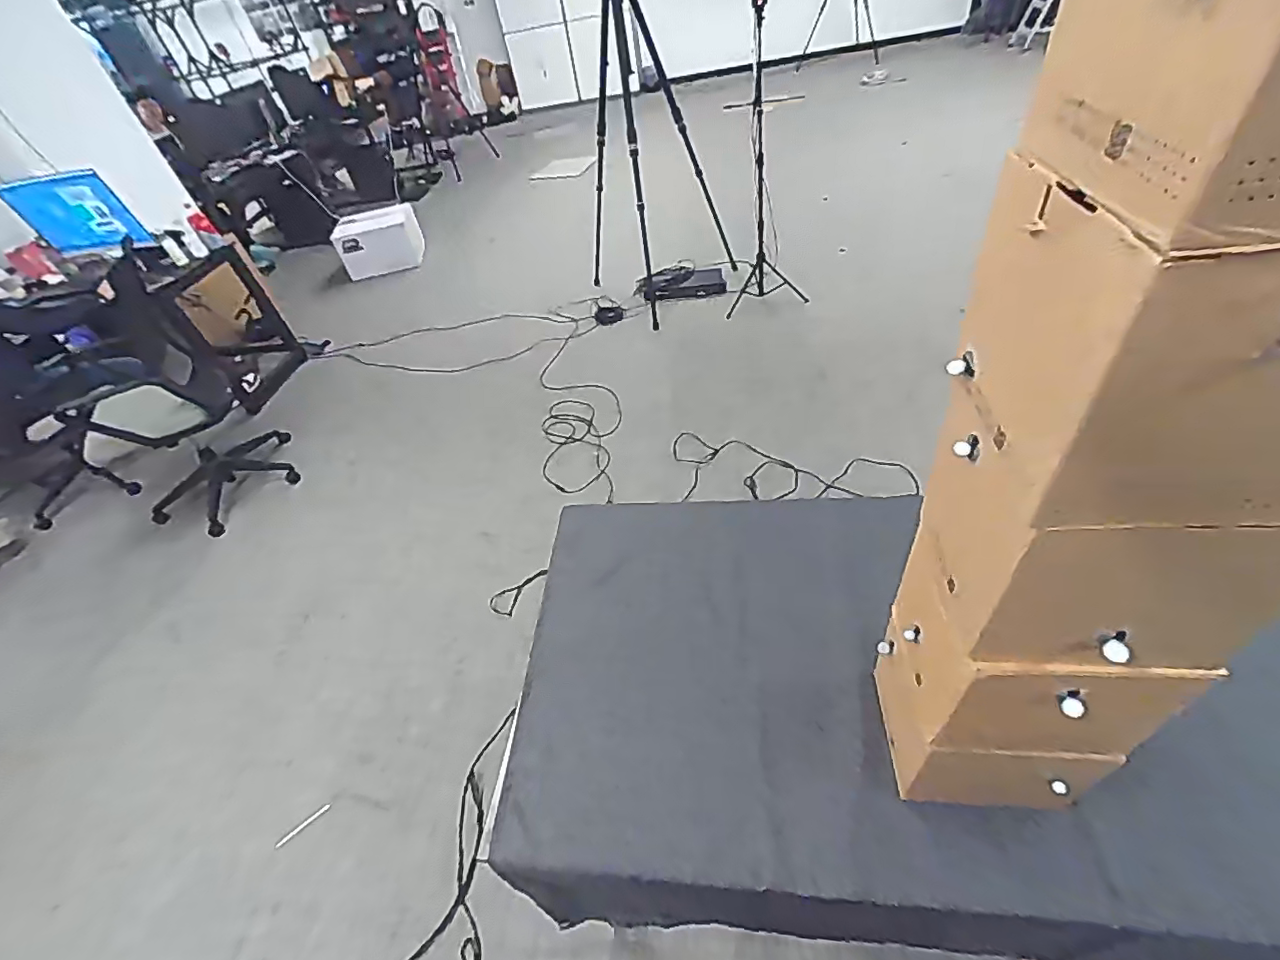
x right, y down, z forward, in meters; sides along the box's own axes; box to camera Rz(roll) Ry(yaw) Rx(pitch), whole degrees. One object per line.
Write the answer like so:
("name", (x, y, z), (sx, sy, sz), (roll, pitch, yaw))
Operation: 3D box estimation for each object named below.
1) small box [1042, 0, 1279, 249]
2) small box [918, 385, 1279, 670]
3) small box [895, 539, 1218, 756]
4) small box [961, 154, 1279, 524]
("small box", (0.290, -0.203, 0.205), (0.179, 0.176, 0.168), (-1, 45, 13))
("small box", (0.344, 0.034, 0.425), (0.179, 0.176, 0.168), (-1, 44, 12))
("small box", (0.372, 0.155, 0.532), (0.179, 0.176, 0.168), (-3, 44, 10))
("small box", (0.313, -0.086, 0.317), (0.179, 0.176, 0.168), (-2, 44, 11))
